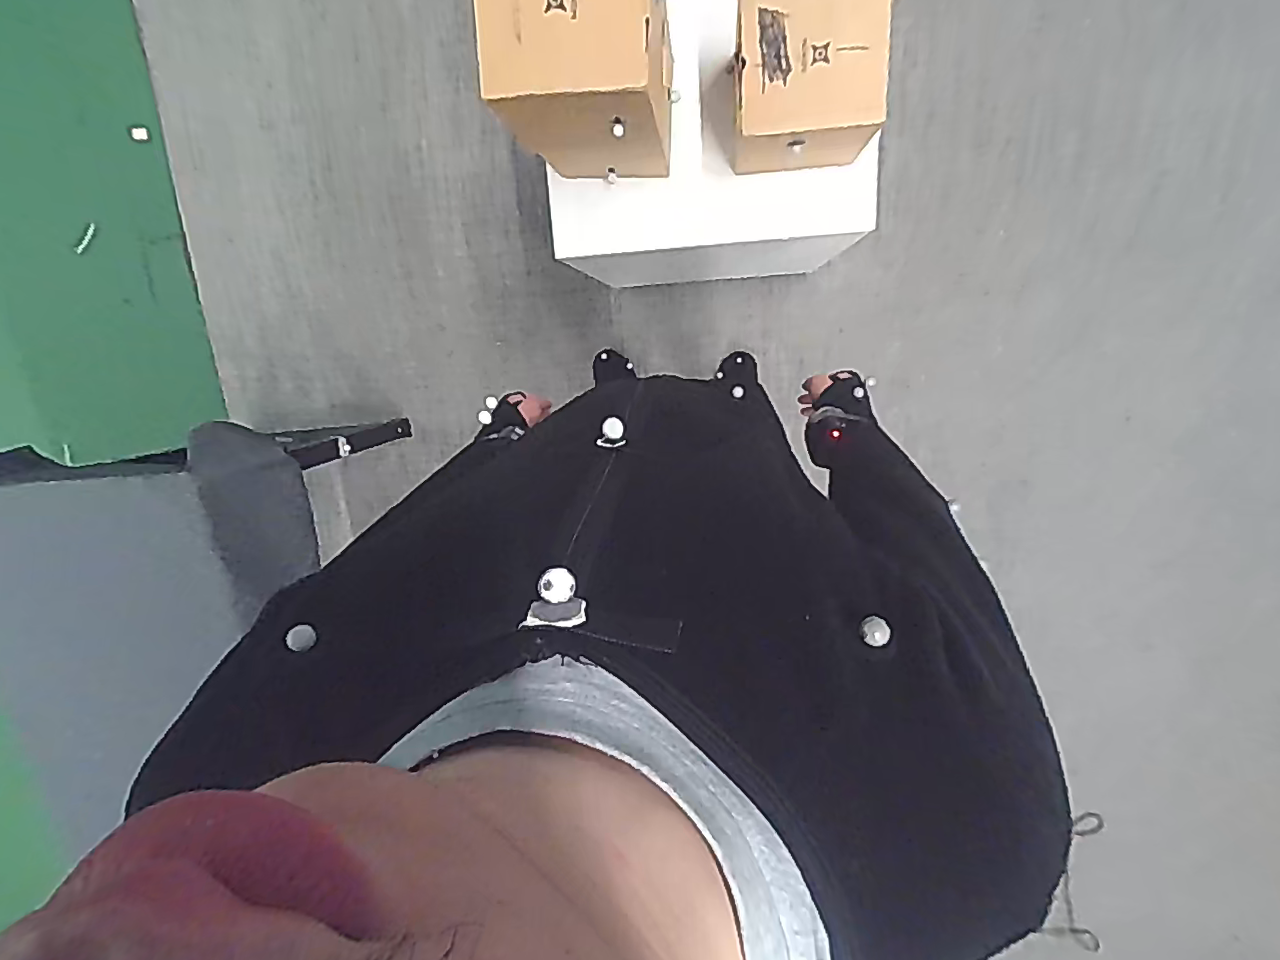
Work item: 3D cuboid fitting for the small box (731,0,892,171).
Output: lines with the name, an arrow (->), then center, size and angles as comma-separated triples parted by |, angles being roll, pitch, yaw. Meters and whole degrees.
small box -> 0.212, -0.526, 0.713 | 0.179, 0.176, 0.168 | -3, 104, 5

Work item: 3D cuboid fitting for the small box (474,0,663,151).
small box -> -0.065, -0.477, 0.581 | 0.179, 0.176, 0.168 | -1, 103, 6
